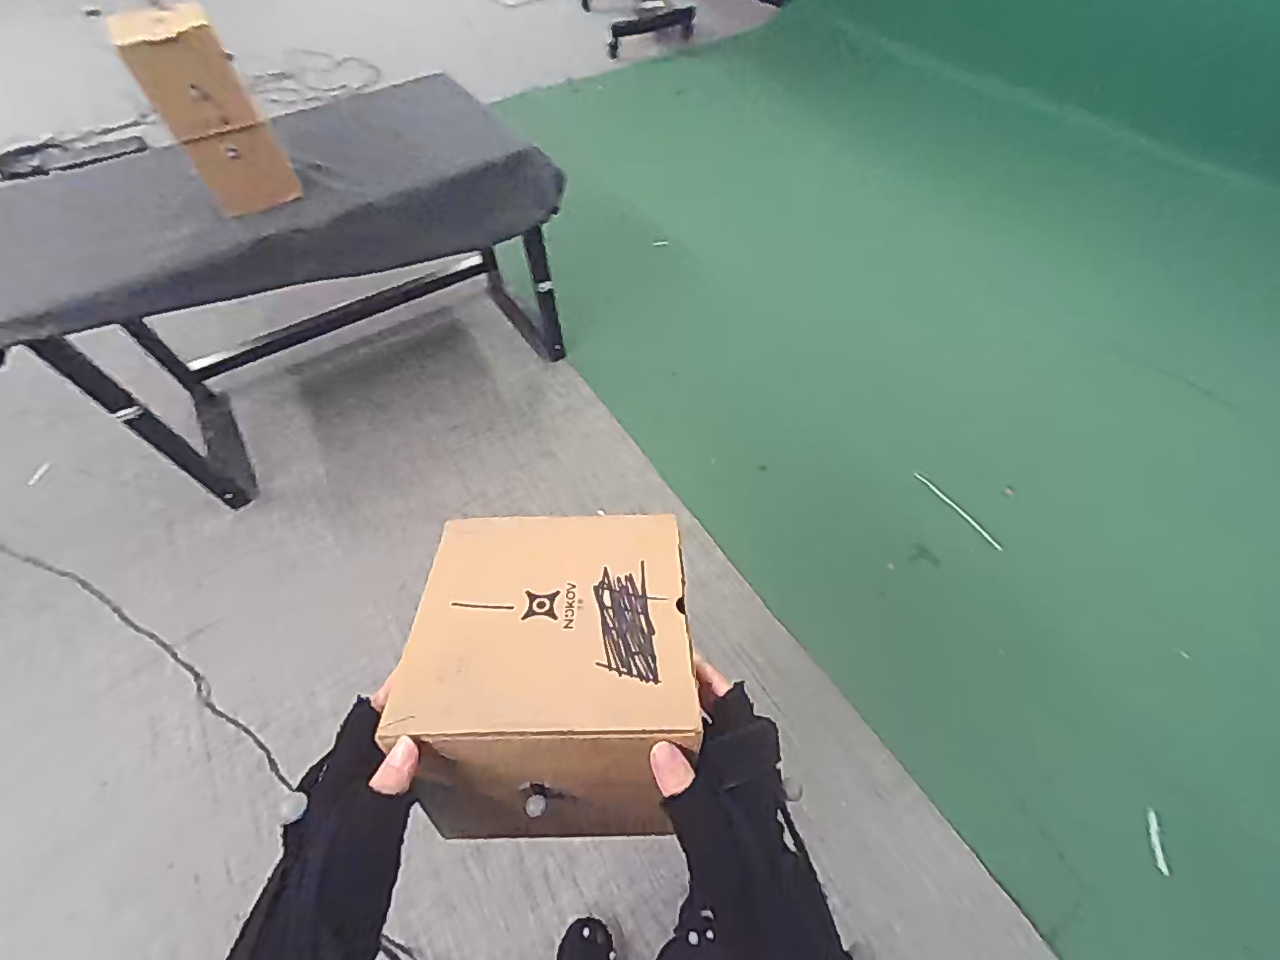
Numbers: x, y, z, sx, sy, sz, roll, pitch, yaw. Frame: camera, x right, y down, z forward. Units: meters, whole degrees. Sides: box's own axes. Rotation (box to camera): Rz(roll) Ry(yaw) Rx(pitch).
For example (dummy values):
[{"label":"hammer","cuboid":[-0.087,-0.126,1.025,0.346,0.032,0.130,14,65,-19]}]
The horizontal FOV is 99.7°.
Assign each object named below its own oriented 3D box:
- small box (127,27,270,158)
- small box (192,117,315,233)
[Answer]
[{"label":"small box","cuboid":[-0.909,-0.799,1.127,0.168,0.176,0.179,-27,59,-16]},{"label":"small box","cuboid":[-0.903,-0.709,1.263,0.179,0.176,0.168,-27,59,-17]}]
